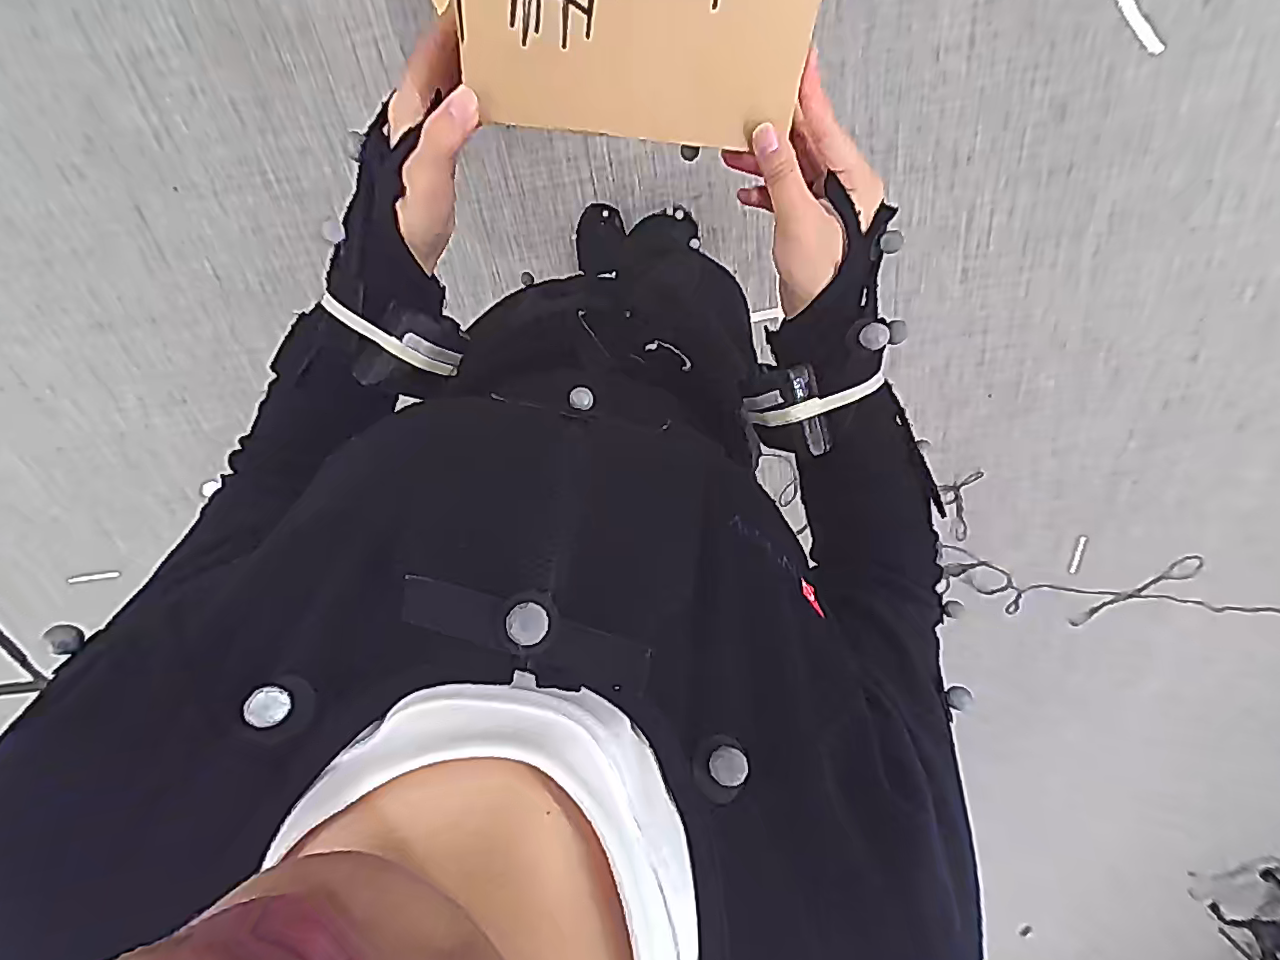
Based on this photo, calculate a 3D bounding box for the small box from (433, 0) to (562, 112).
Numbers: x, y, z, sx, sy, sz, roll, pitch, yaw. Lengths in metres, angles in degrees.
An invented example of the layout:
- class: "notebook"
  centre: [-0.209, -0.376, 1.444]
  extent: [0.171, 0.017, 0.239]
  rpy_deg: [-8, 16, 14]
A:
- class: "small box"
  centre: [-0.239, -0.768, 0.955]
  extent: [0.179, 0.176, 0.168]
  rpy_deg: [-9, 120, 3]
